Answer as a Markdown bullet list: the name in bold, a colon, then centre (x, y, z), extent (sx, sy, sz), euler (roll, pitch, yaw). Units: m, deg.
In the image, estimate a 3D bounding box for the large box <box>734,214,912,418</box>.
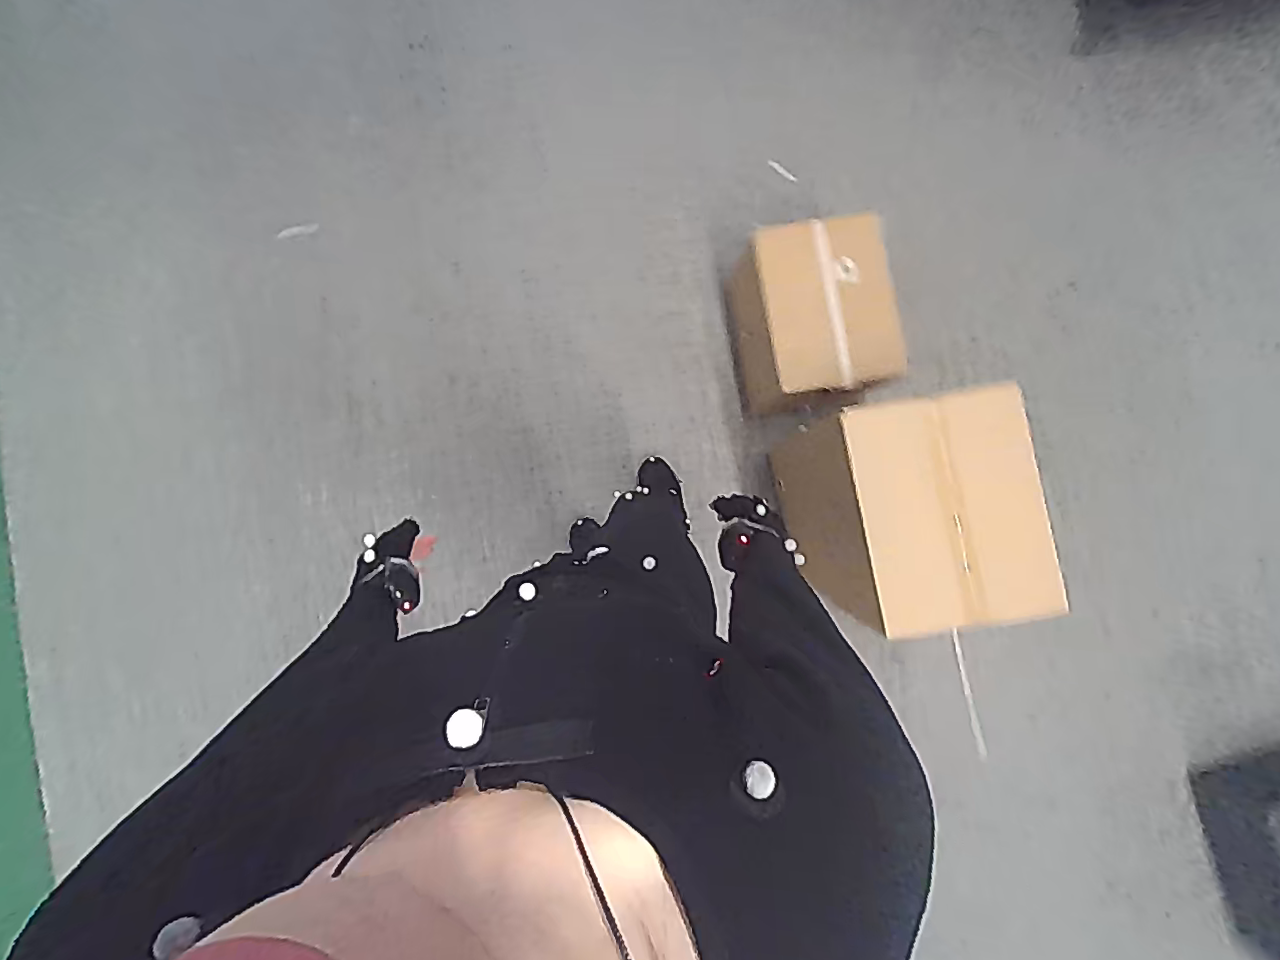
- **large box**: centre (0.451, -0.404, 1.414), extent (0.320, 0.320, 0.408), euler (-8, 86, -3)
